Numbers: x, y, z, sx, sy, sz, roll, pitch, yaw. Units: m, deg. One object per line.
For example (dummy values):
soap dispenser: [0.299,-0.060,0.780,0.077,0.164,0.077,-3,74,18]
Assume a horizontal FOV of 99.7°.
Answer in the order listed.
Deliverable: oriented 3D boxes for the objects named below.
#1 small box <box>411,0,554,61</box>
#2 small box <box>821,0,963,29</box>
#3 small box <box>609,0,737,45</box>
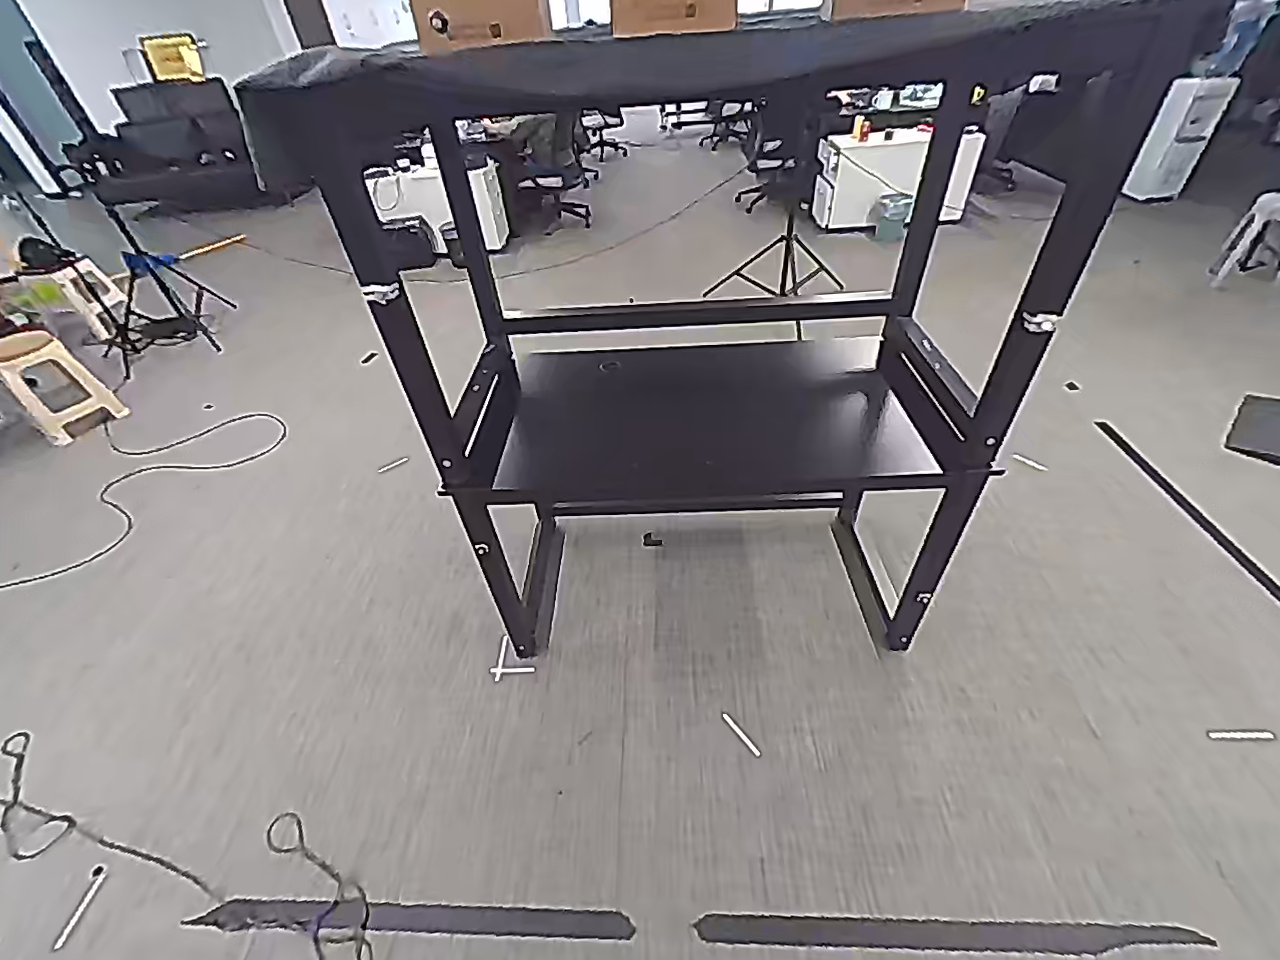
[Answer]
small box: [-0.214,-0.680,0.731,0.168,0.176,0.179,-3,39,0]
small box: [0.339,-0.711,0.711,0.168,0.176,0.179,3,41,9]
small box: [0.041,-0.695,0.725,0.168,0.176,0.179,-3,40,3]
